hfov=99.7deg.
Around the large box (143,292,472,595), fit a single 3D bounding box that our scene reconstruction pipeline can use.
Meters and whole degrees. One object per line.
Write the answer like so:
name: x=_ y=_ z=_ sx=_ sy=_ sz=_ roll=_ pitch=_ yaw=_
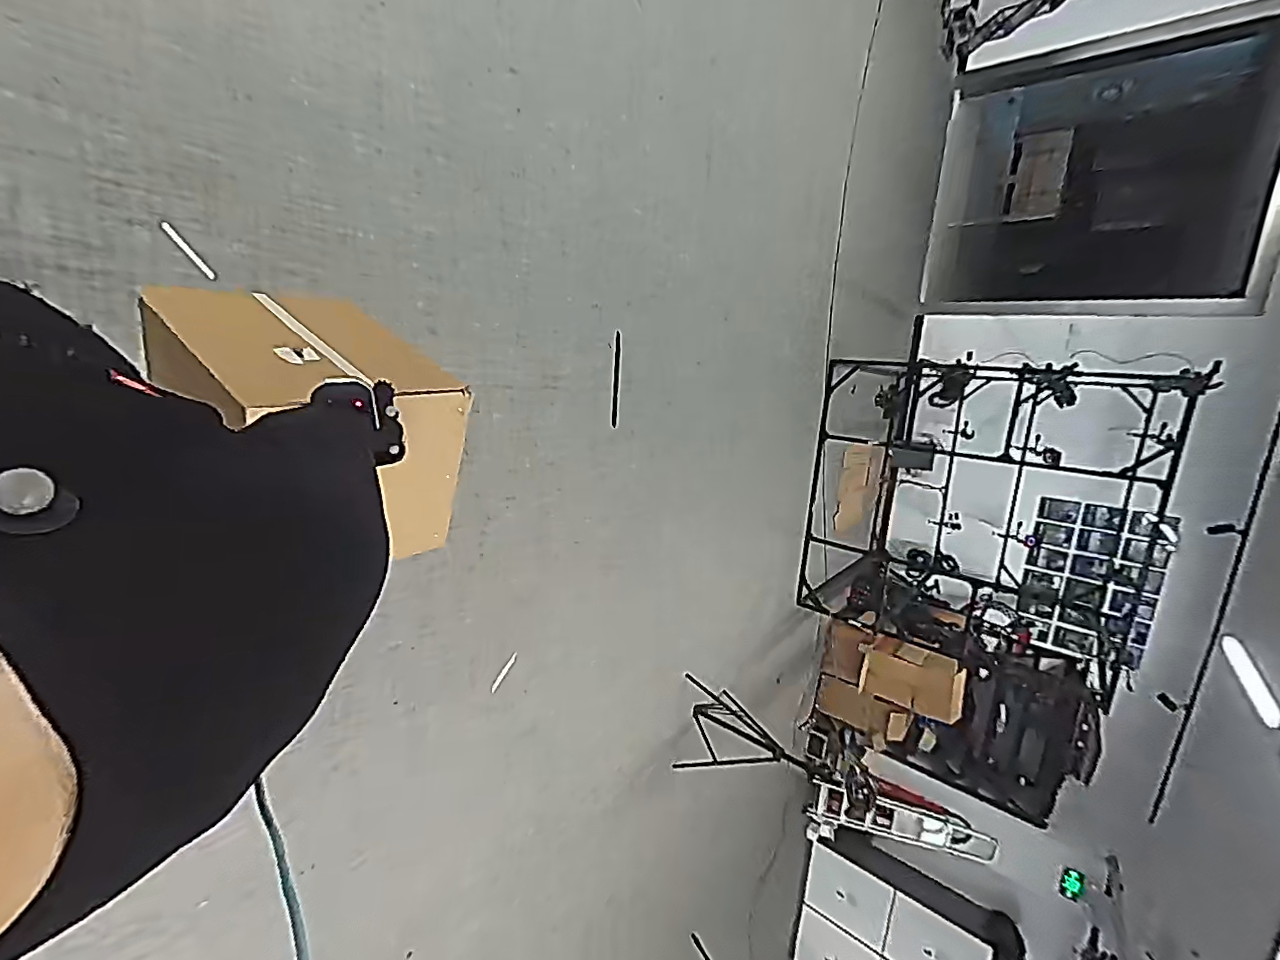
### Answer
large box: x=-0.555 y=-0.084 z=0.909 sx=0.320 sy=0.408 sz=0.320 roll=-19 pitch=137 yaw=-51
